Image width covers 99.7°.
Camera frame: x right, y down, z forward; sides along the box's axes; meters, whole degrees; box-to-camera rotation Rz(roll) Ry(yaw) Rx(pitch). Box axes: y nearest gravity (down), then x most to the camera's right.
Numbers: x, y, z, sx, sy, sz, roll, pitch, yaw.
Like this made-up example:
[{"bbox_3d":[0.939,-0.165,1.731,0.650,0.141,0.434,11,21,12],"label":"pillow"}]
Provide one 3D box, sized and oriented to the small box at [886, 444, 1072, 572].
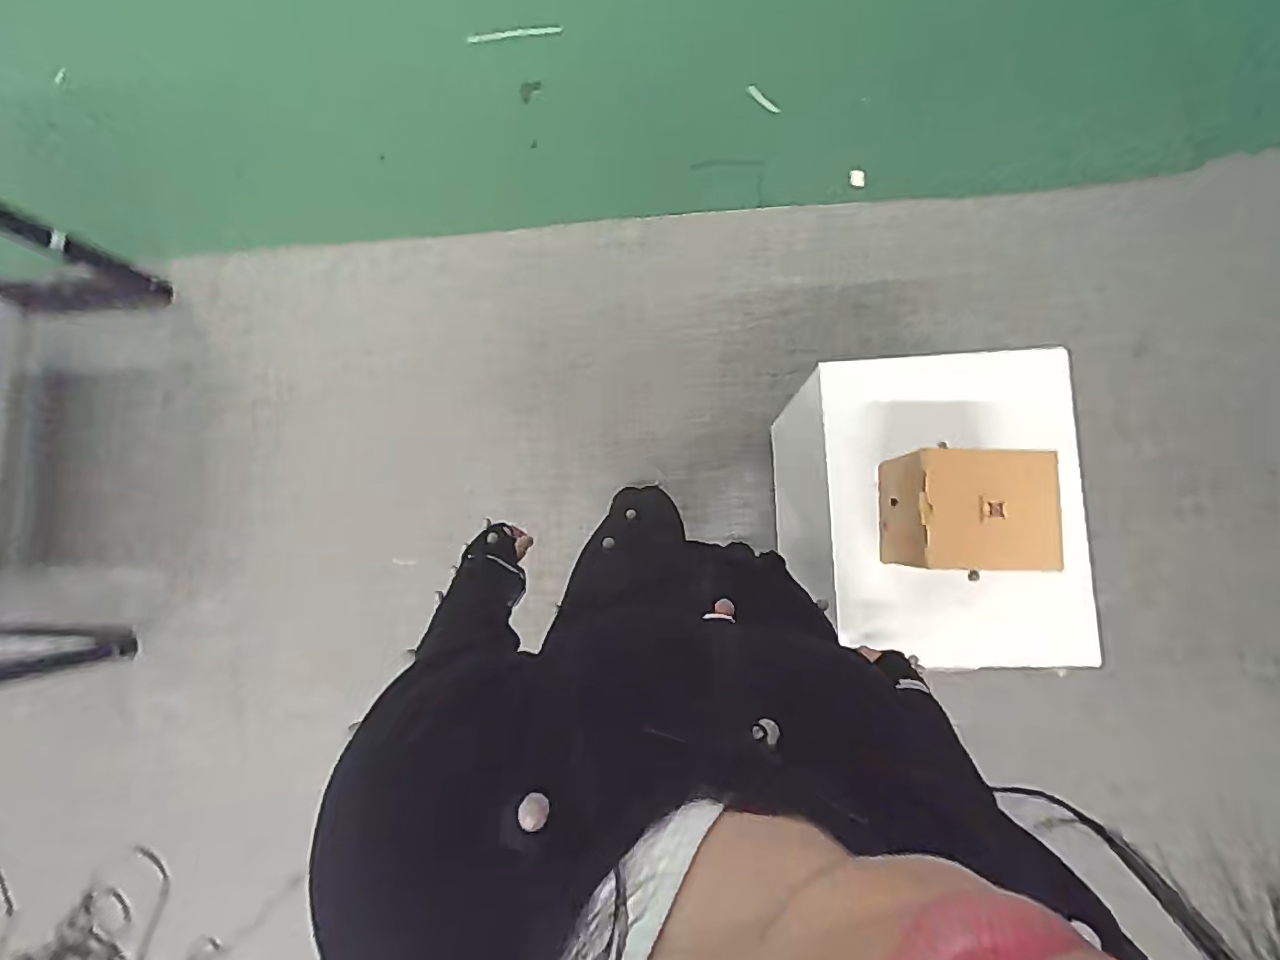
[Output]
[{"bbox_3d":[0.479,0.042,0.789,0.179,0.176,0.168,1,84,6],"label":"small box"}]
